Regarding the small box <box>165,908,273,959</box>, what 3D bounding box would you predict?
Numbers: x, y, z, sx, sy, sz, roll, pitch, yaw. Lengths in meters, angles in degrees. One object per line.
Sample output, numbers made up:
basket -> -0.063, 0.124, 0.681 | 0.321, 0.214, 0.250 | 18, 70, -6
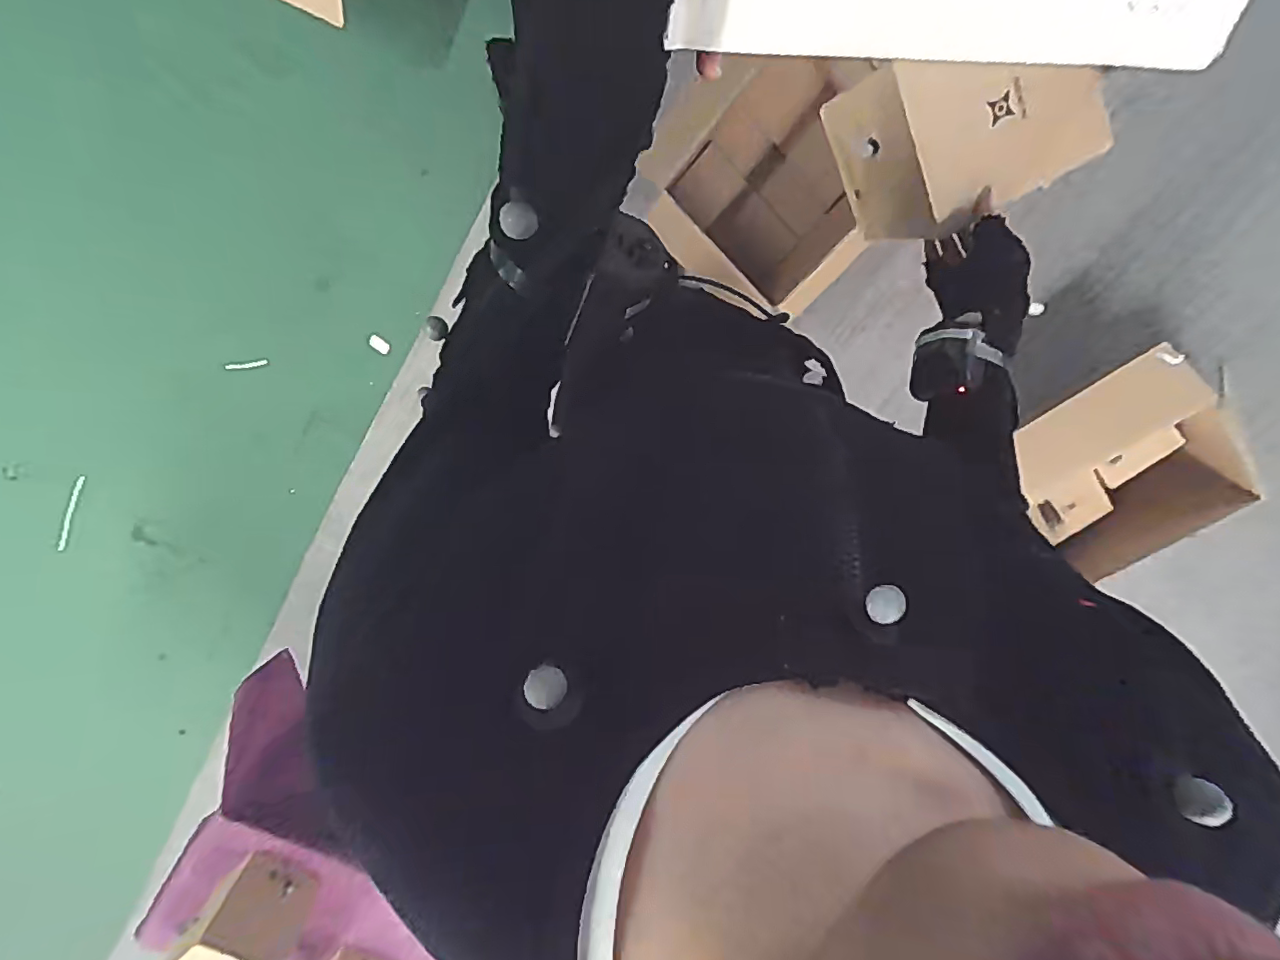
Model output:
small box -> -0.933, 1.066, 1.151 | 0.168, 0.176, 0.179 | 39, 110, -15
